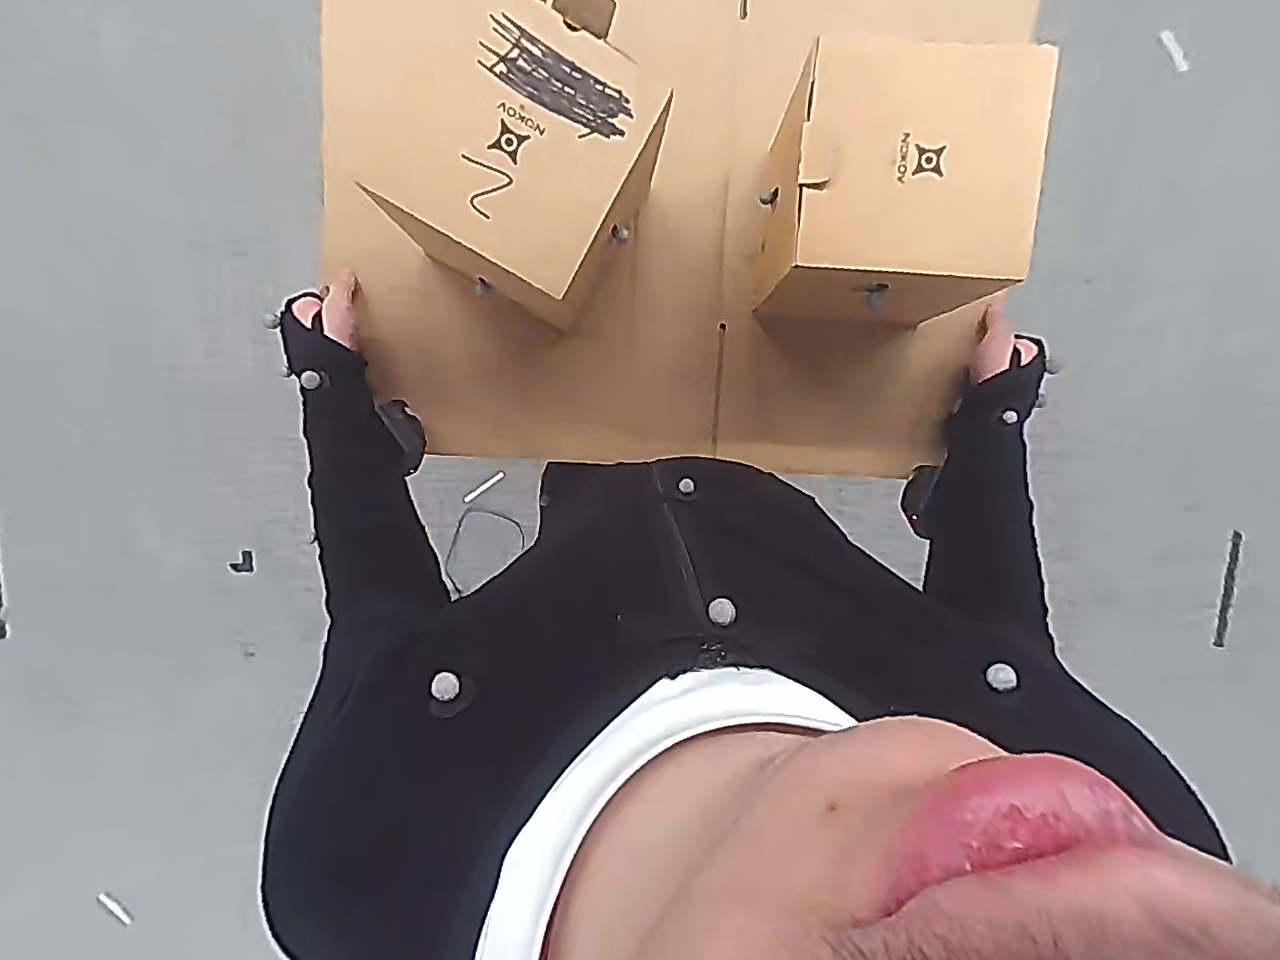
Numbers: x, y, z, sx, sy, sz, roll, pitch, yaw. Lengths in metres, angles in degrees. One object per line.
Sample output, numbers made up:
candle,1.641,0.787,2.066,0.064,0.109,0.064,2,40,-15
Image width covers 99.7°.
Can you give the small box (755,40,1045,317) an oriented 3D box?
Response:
small box,0.213,-0.250,0.493,0.179,0.176,0.168,4,96,2
